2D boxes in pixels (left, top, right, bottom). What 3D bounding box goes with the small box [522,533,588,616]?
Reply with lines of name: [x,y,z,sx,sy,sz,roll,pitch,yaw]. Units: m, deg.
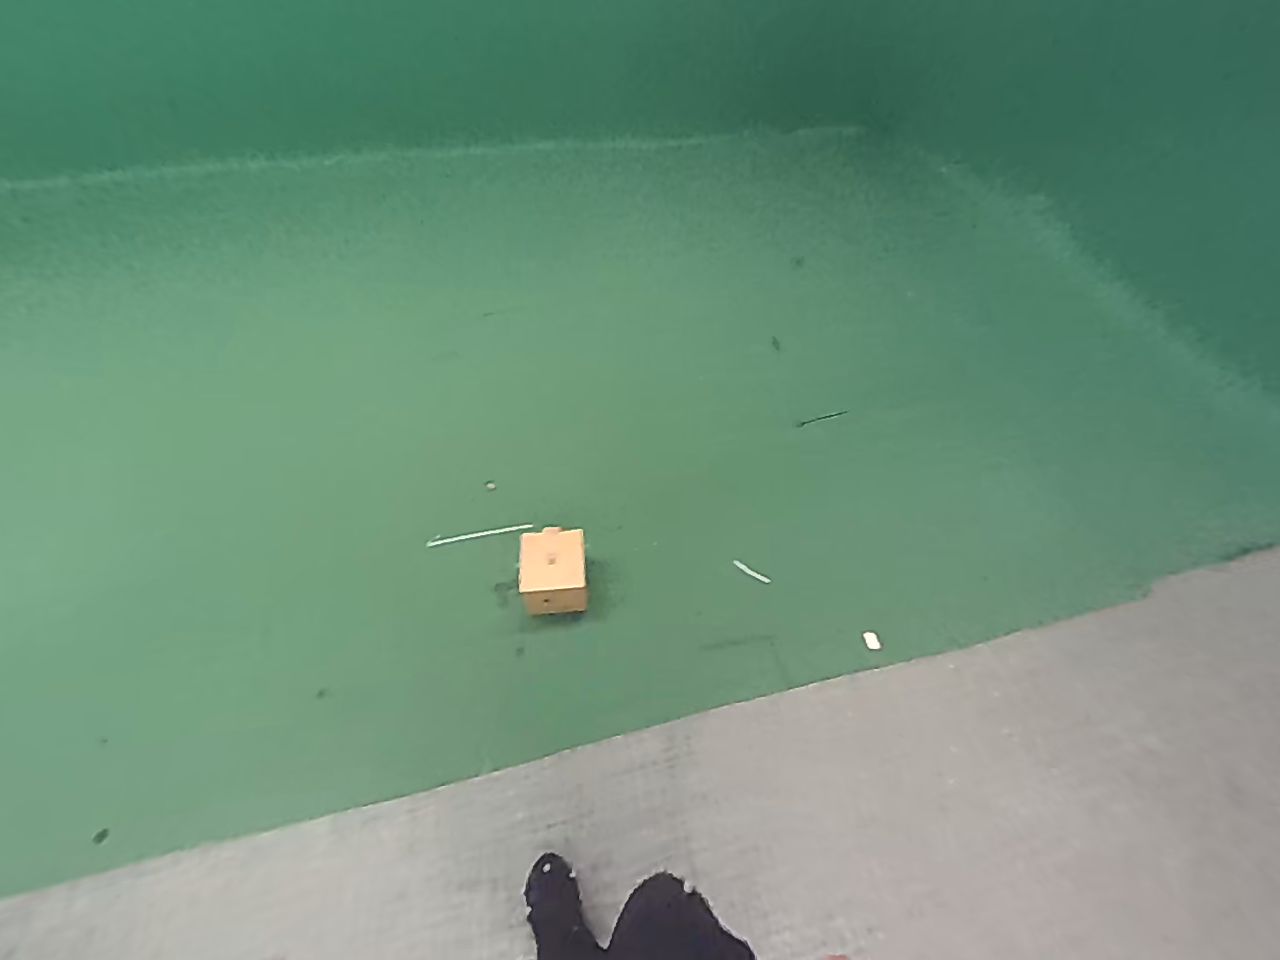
small box: [-0.230,0.266,1.493,0.168,0.176,0.179,-3,55,-6]
